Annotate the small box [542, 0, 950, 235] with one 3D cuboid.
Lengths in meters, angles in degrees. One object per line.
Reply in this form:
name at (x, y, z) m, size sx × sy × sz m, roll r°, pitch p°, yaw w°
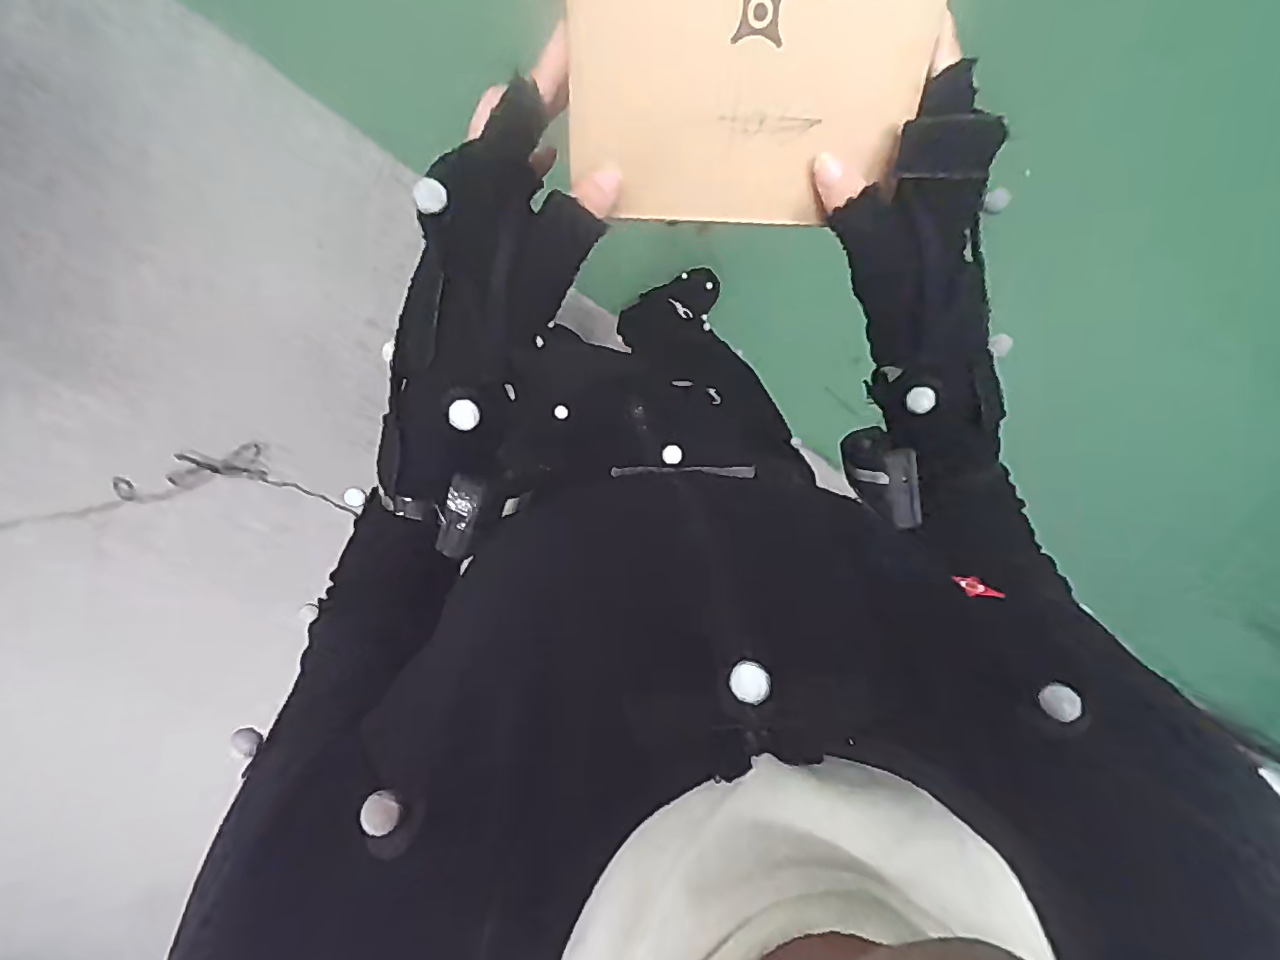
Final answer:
small box at (0.036, -0.237, 0.277) m, size 0.168 × 0.176 × 0.179 m, roll 1°, pitch 123°, yaw -6°
